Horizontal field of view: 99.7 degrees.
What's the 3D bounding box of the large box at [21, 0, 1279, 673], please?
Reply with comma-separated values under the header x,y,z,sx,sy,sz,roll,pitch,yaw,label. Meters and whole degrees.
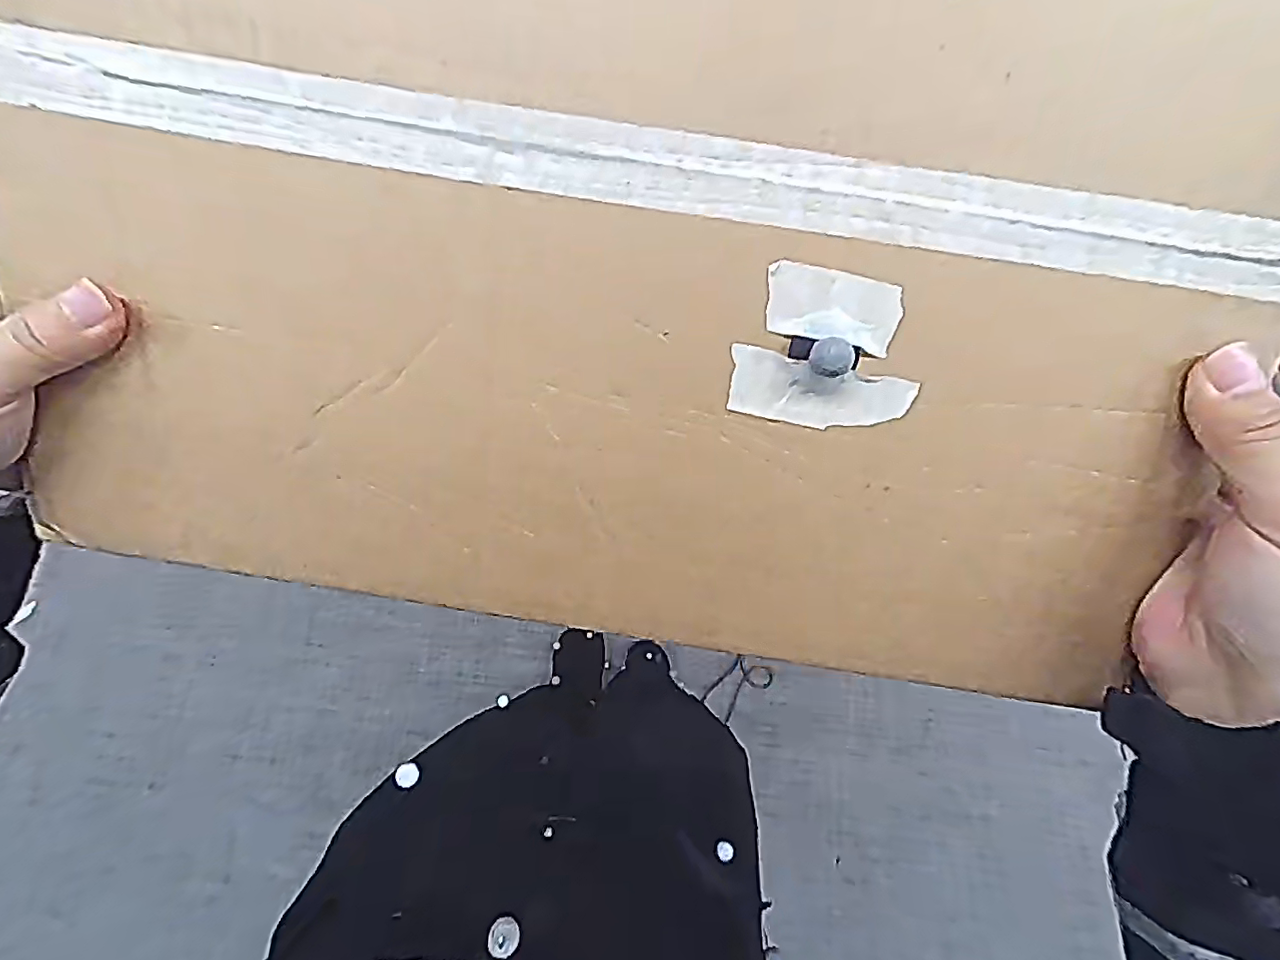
x,y,z,sx,sy,sz,roll,pitch,yaw,label
0.005,-0.131,0.318,0.408,0.320,0.320,8,106,-1,large box
